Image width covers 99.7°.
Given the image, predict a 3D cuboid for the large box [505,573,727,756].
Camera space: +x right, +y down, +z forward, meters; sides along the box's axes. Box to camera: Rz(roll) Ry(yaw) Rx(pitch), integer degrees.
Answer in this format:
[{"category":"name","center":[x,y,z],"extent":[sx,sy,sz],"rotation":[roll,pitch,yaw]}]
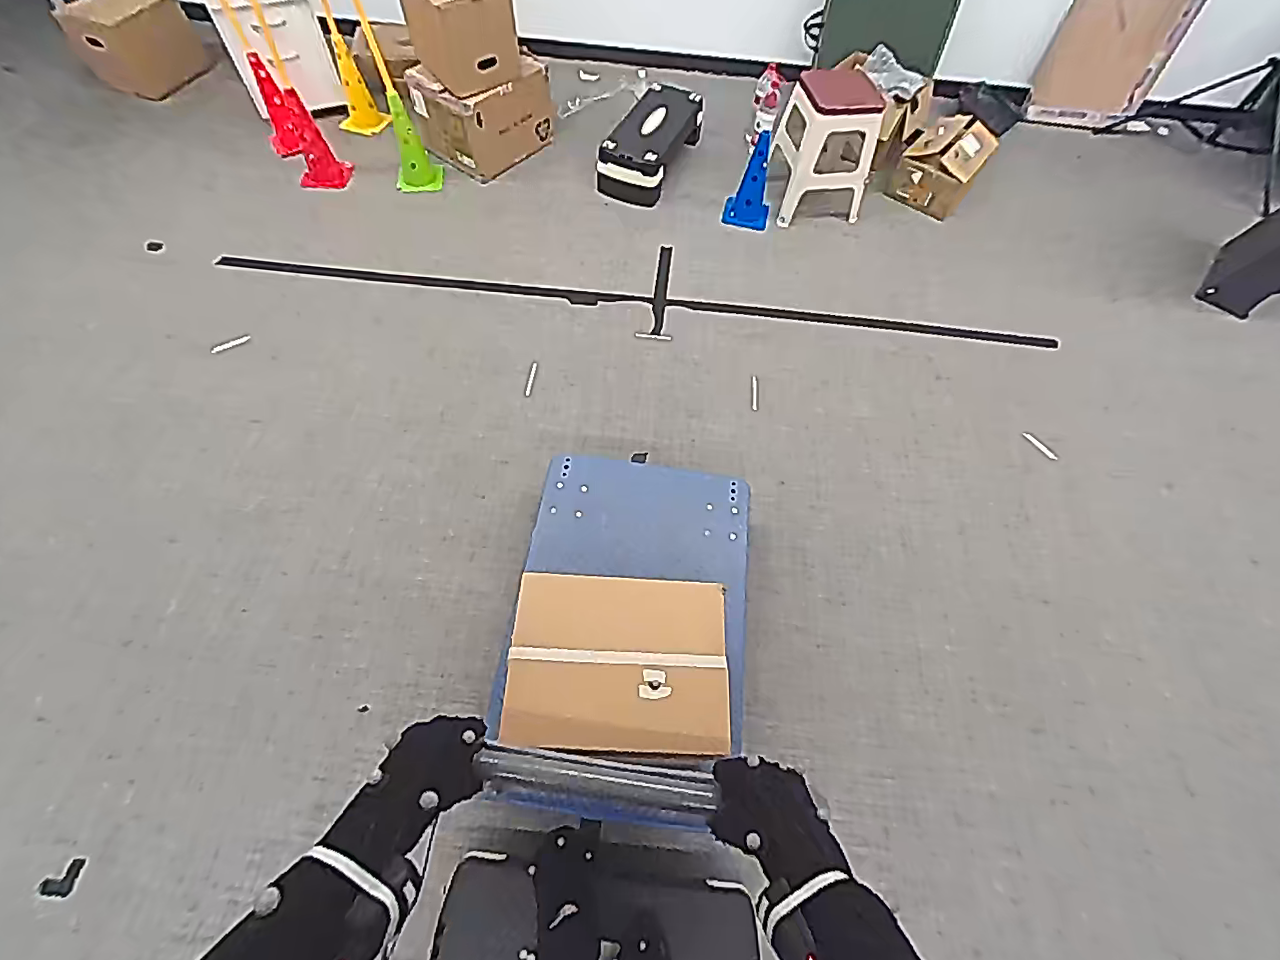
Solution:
[{"category":"large box","center":[-0.050,0.407,1.157],"extent":[0.408,0.320,0.320],"rotation":[4,61,-3]}]
